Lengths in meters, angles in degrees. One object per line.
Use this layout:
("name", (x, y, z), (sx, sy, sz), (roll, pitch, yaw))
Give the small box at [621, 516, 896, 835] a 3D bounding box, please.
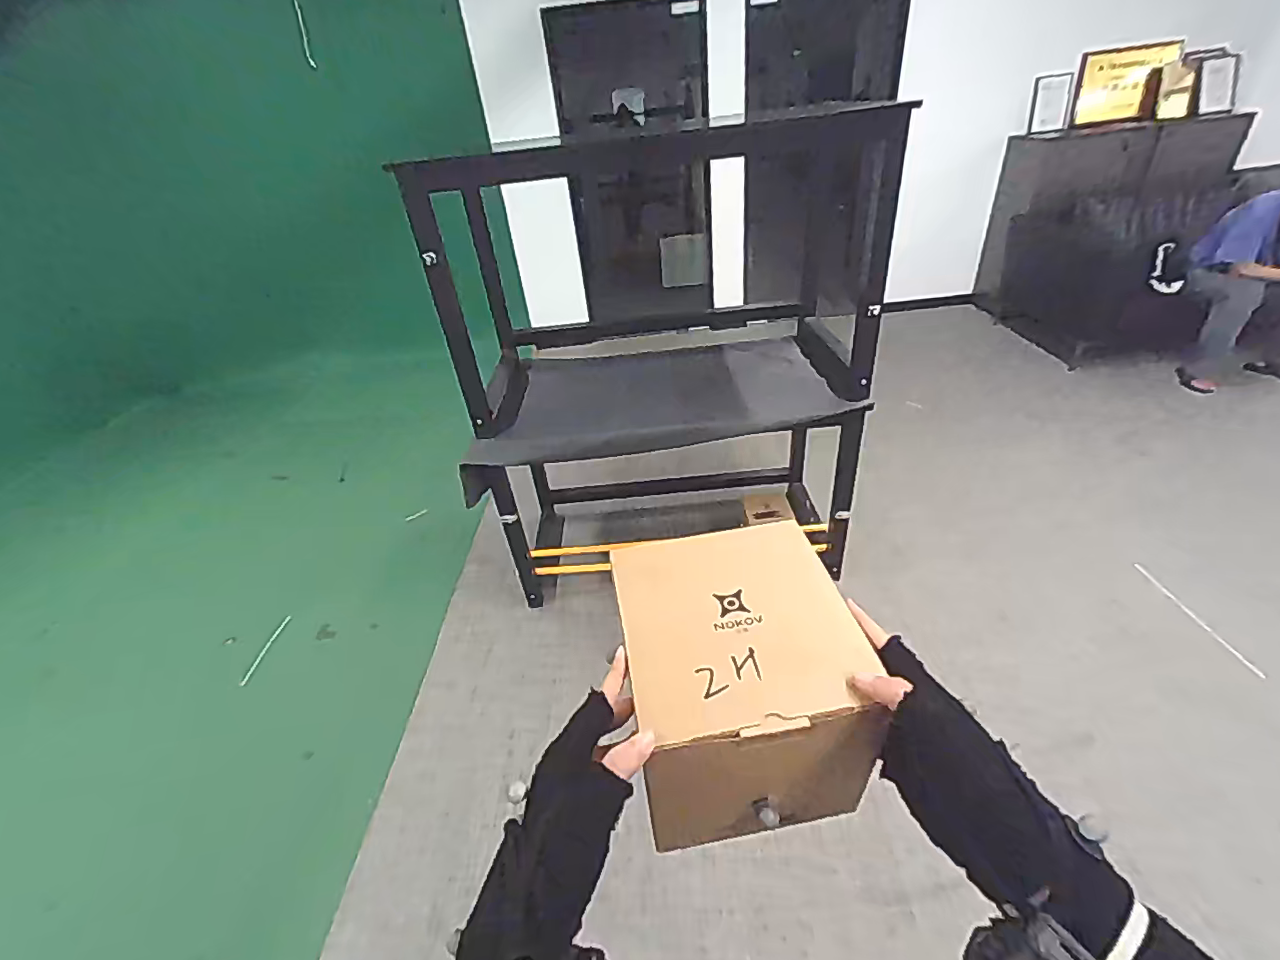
("small box", (0.078, 0.157, 0.454), (0.168, 0.176, 0.179), (-9, 37, -4))
